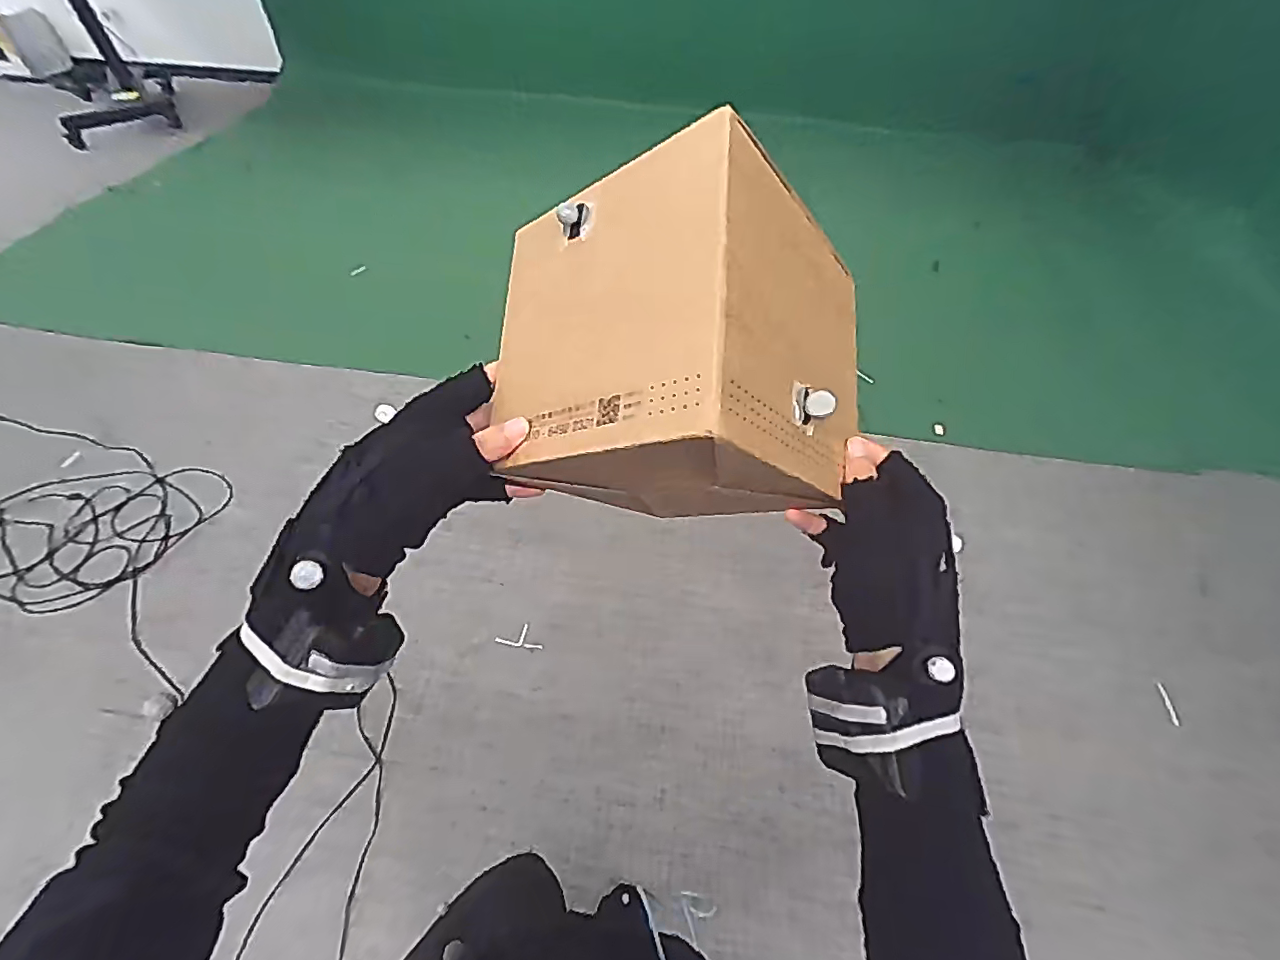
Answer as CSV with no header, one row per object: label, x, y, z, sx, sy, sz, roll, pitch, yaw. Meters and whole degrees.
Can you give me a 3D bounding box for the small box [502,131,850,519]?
small box,0.030,-0.070,0.365,0.168,0.179,0.176,-7,72,39
